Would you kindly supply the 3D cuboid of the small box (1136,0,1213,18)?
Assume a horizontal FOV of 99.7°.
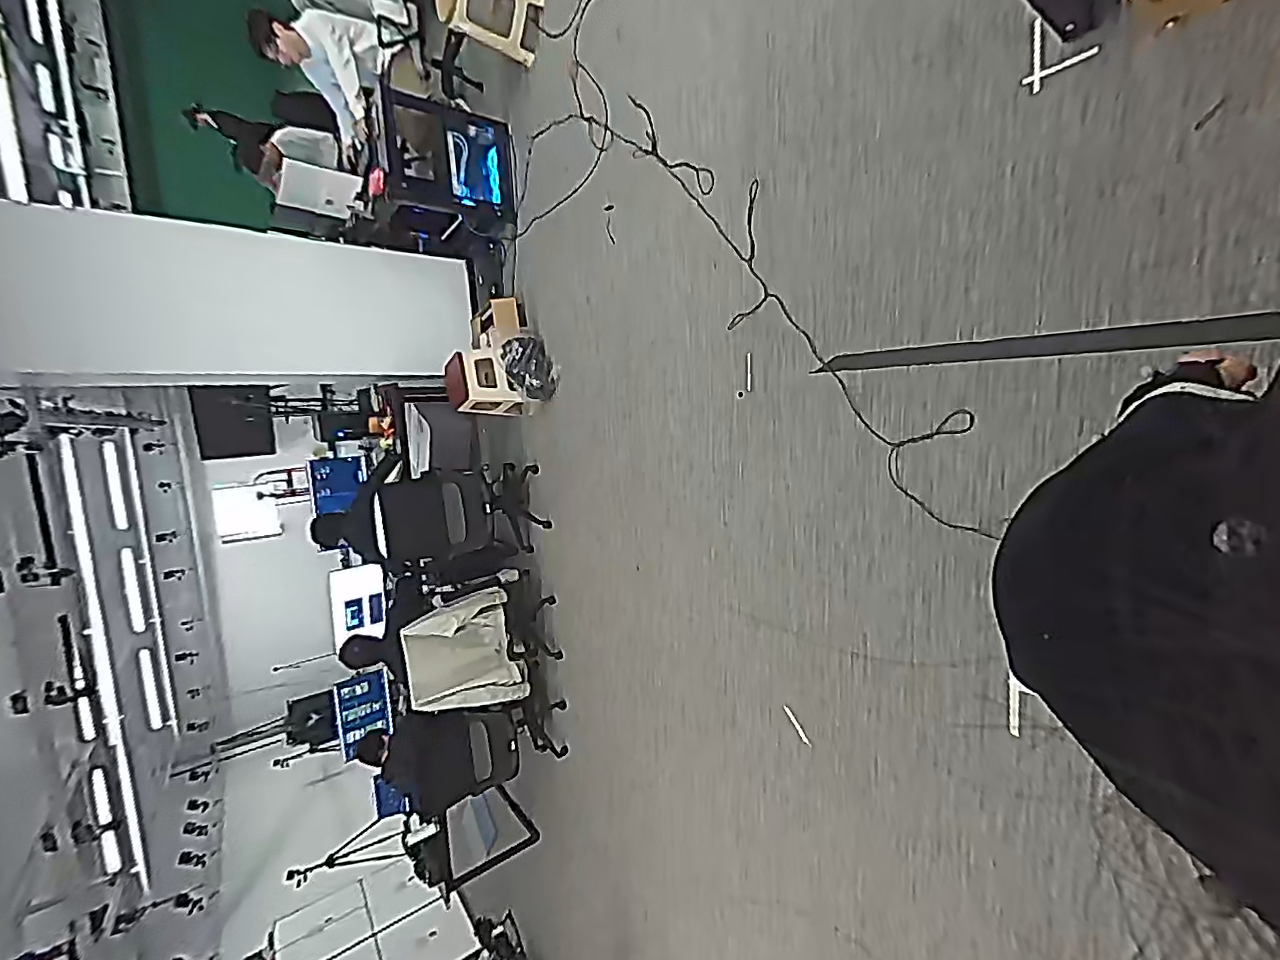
[{"bbox_3d":[0.993,-0.952,0.936,0.168,0.176,0.179,9,103,53],"label":"small box"}]
